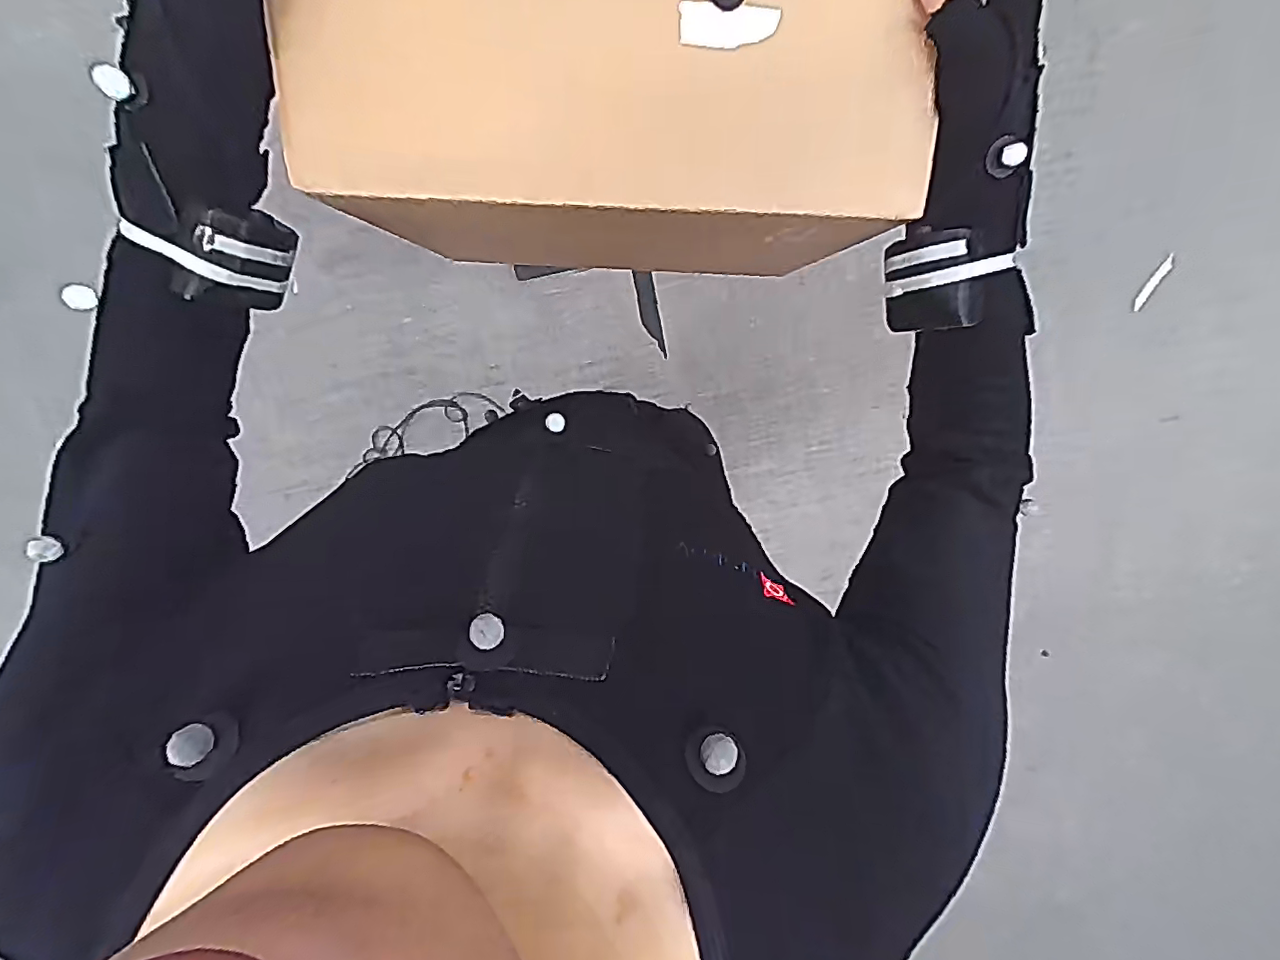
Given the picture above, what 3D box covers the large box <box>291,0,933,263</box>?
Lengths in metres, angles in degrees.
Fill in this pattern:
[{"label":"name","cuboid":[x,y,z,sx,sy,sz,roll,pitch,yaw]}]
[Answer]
[{"label":"large box","cuboid":[-0.019,-0.375,0.467,0.408,0.320,0.320,1,105,-2]}]
